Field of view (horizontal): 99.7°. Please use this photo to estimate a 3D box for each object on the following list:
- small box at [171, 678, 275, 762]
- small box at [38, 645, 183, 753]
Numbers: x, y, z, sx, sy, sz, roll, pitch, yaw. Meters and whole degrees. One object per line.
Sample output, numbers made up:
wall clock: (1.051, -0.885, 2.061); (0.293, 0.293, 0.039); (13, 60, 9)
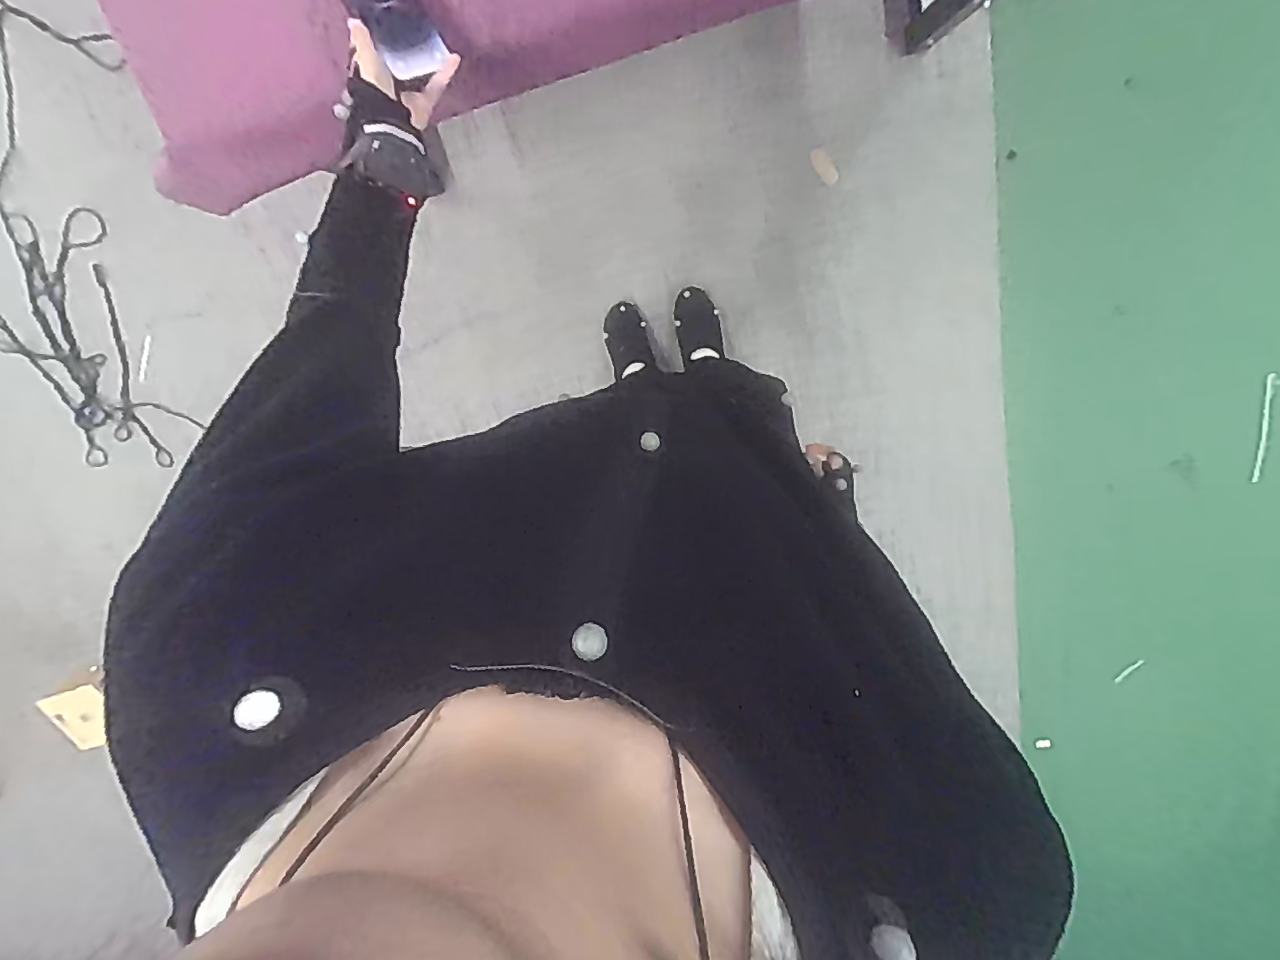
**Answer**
small box: (-1.231, 0.721, 1.613); (0.168, 0.176, 0.179); (2, 111, 2)
small box: (-1.319, 0.547, 1.369); (0.179, 0.176, 0.168); (-19, 110, 7)
